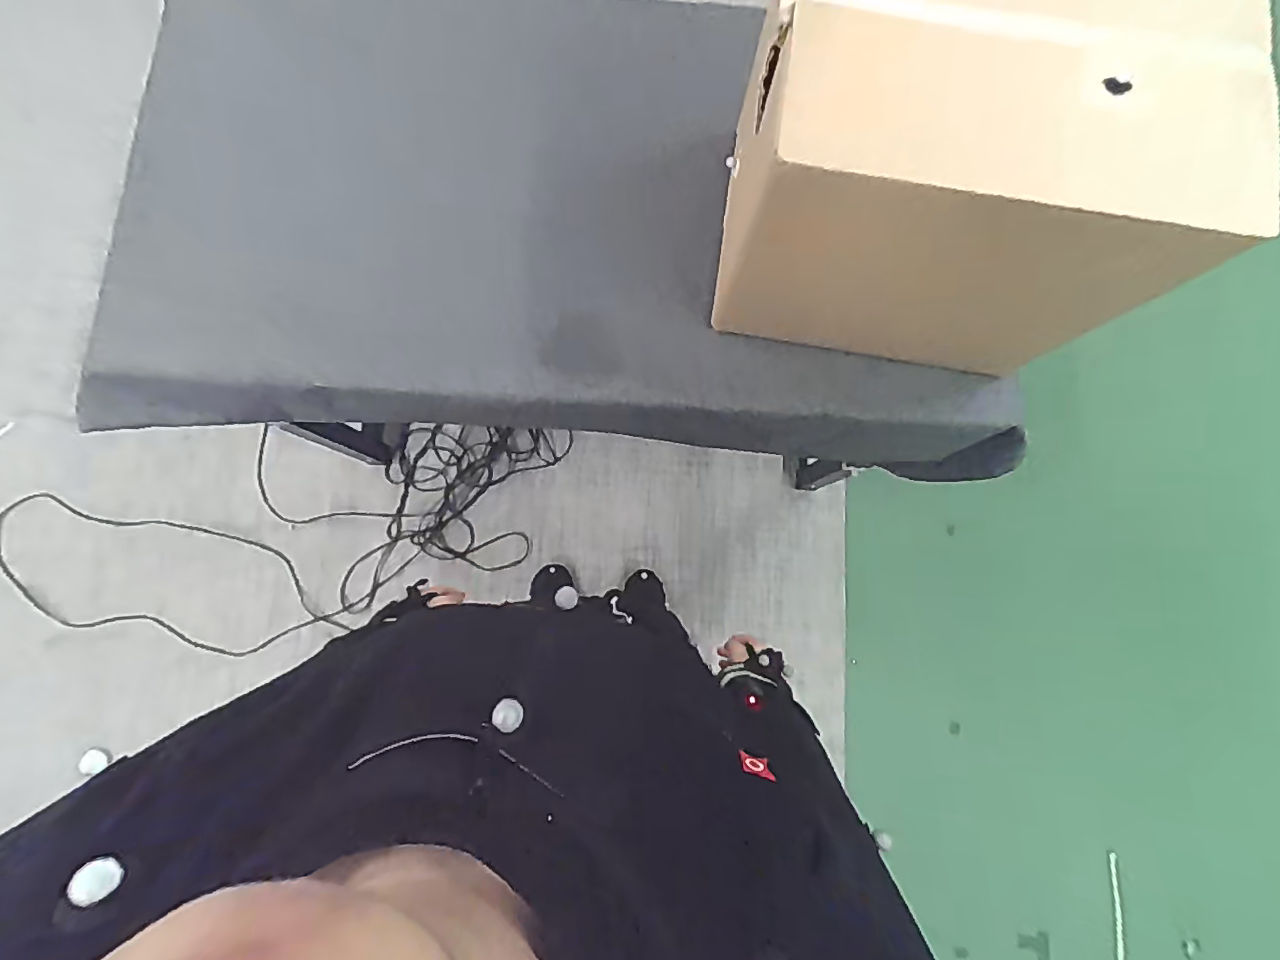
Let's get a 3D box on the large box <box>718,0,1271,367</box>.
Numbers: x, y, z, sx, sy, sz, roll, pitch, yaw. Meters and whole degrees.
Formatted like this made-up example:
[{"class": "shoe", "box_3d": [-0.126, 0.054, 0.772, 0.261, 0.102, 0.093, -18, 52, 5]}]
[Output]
[{"class": "large box", "box_3d": [0.322, -0.348, 0.601, 0.408, 0.320, 0.320, 9, 81, -2]}]
